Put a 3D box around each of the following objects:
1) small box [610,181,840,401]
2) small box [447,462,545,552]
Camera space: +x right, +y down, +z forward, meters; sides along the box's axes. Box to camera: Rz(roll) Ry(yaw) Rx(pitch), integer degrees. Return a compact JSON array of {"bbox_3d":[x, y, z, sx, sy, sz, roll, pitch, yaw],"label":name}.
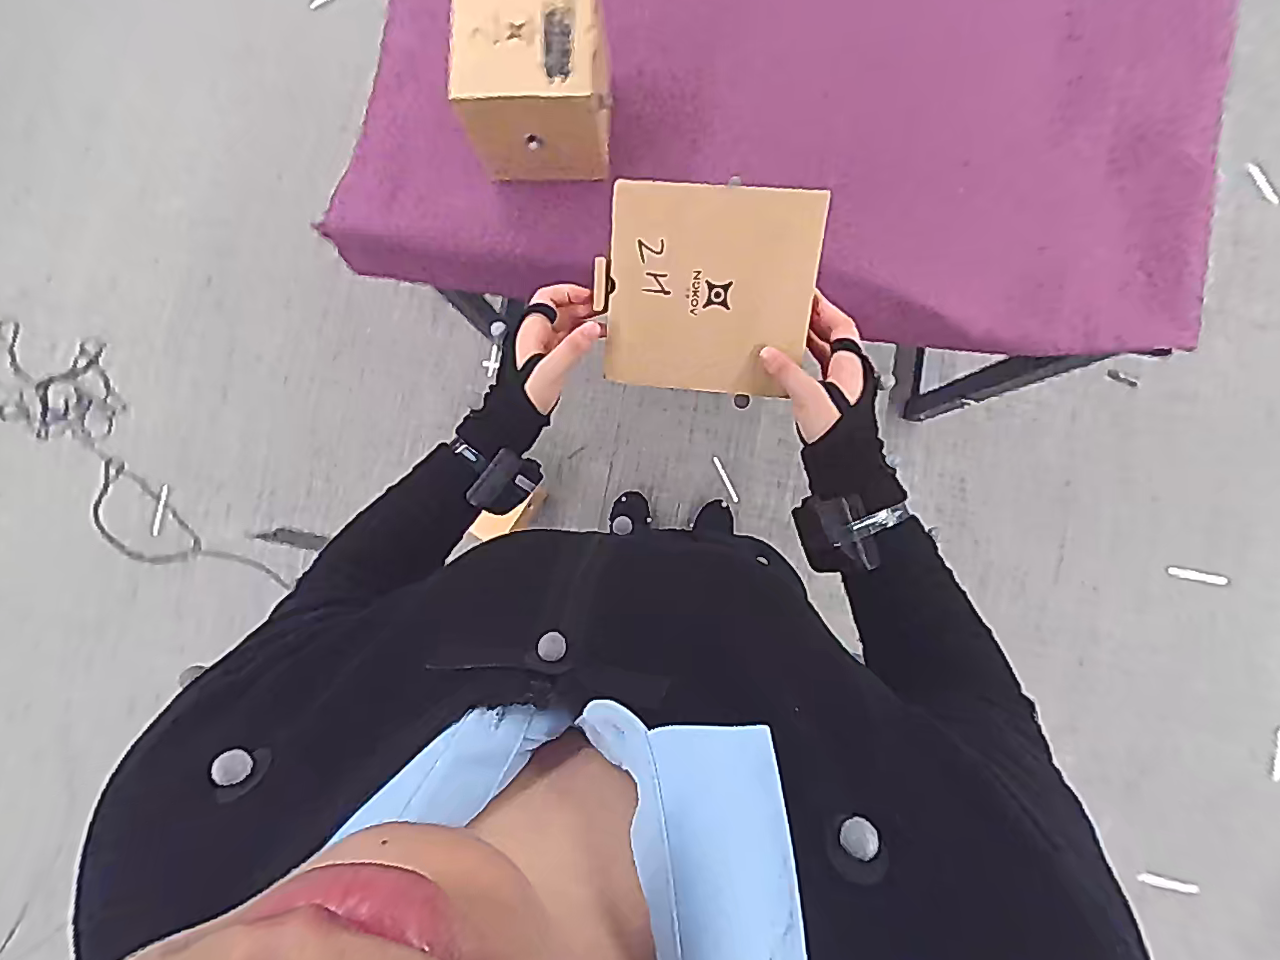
[{"bbox_3d":[0.079,-0.177,0.532,0.179,0.176,0.168,8,105,8],"label":"small box"},{"bbox_3d":[-0.375,0.073,1.444,0.168,0.176,0.179,32,89,3],"label":"small box"}]
